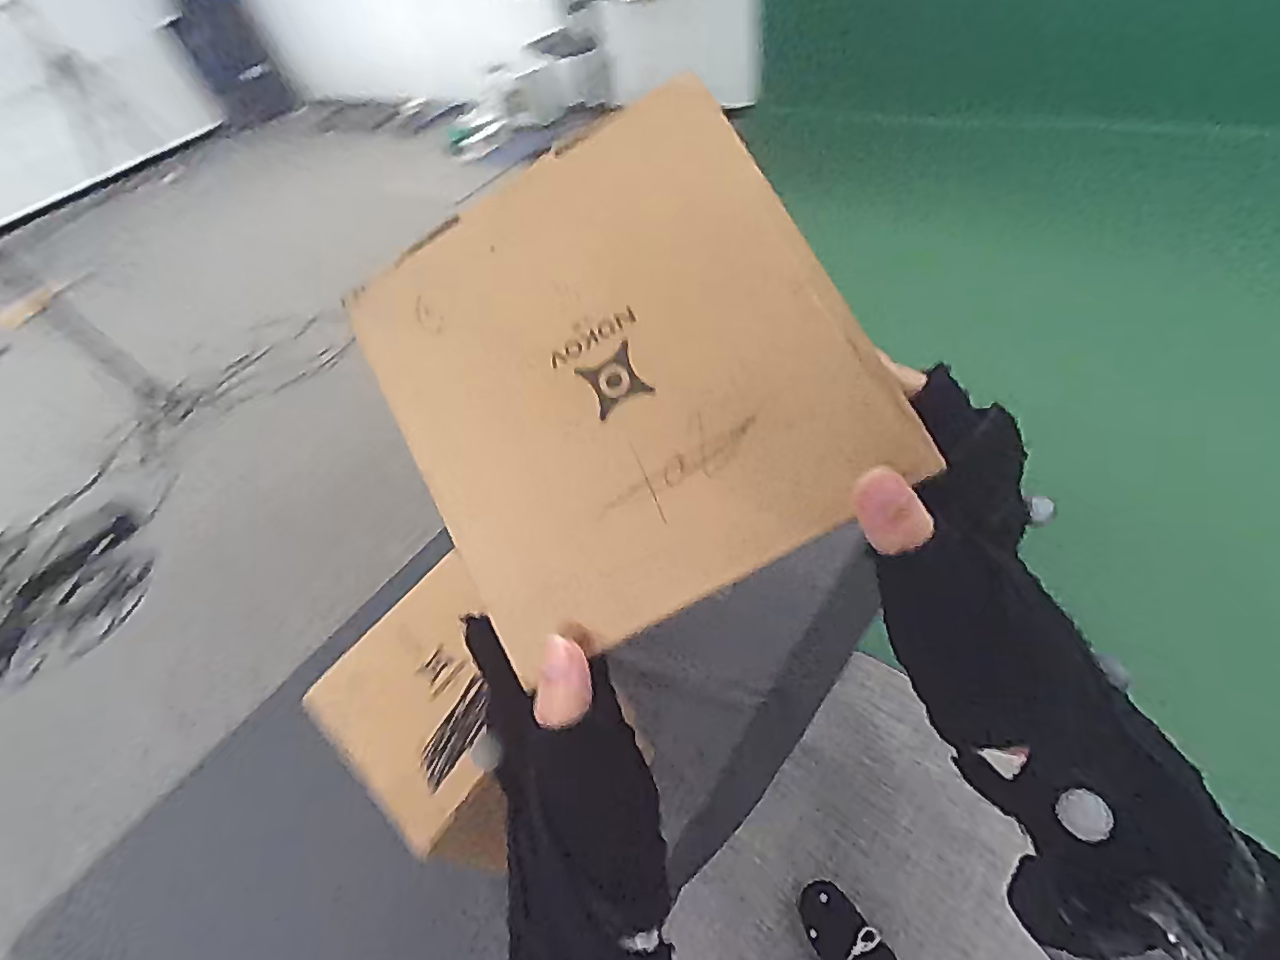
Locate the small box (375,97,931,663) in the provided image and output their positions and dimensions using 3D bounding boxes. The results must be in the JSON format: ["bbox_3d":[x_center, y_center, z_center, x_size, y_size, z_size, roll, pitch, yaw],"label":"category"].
[{"bbox_3d":[0.008,-0.034,0.288,0.168,0.176,0.179,-28,81,8],"label":"small box"}]

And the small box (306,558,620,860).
[{"bbox_3d":[-0.140,0.207,0.488,0.179,0.176,0.168,23,60,29],"label":"small box"}]

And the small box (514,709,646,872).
[{"bbox_3d":[-0.115,0.306,0.620,0.168,0.176,0.179,27,61,34],"label":"small box"}]
